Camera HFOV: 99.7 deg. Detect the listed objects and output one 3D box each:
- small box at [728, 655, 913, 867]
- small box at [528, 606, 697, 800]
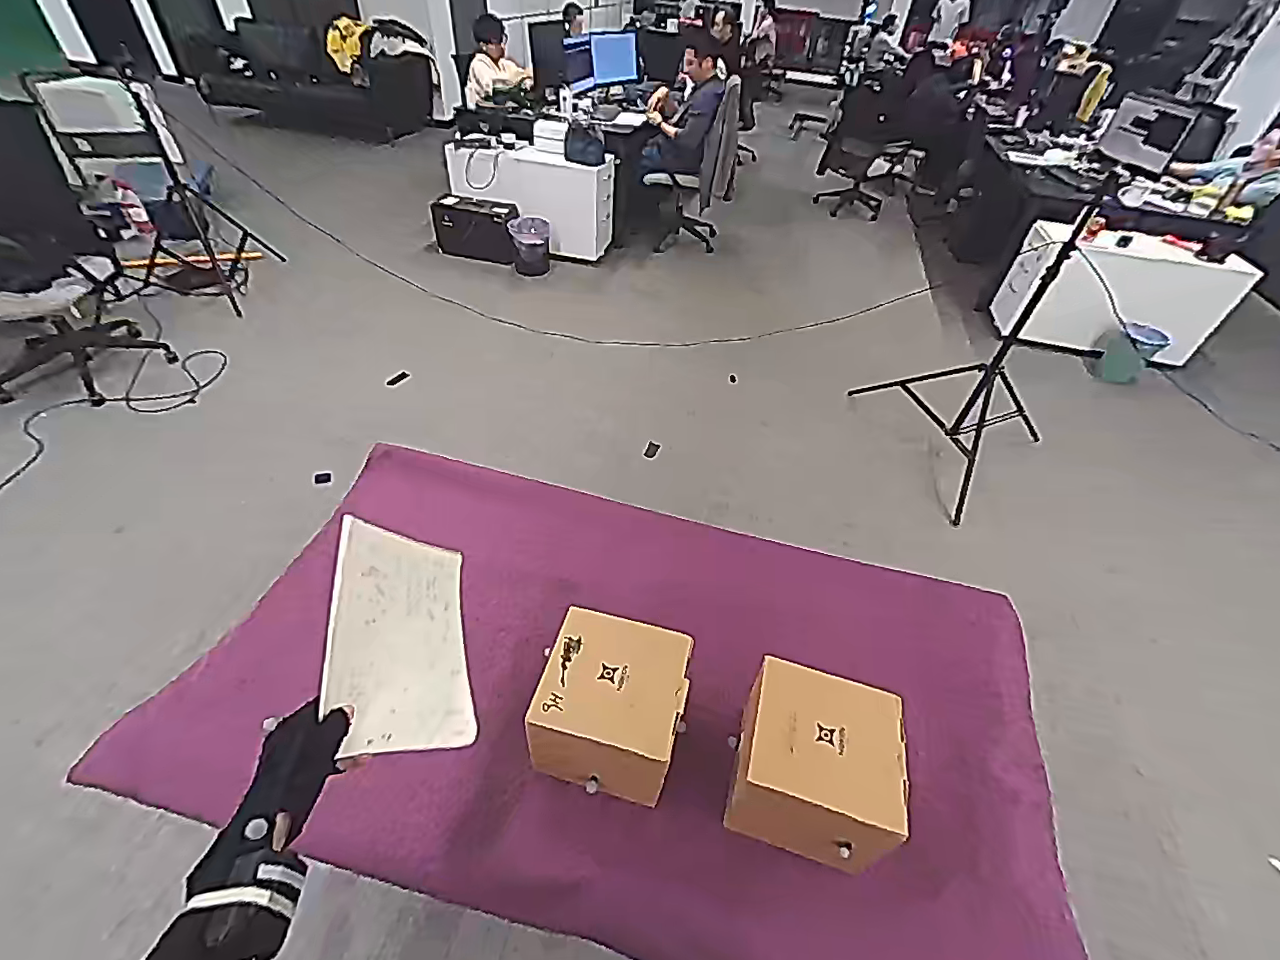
[{"bbox_3d":[0.222,0.360,0.689,0.179,0.176,0.168,13,42,11],"label":"small box"},{"bbox_3d":[-0.034,0.301,0.725,0.179,0.176,0.168,13,43,7],"label":"small box"}]
